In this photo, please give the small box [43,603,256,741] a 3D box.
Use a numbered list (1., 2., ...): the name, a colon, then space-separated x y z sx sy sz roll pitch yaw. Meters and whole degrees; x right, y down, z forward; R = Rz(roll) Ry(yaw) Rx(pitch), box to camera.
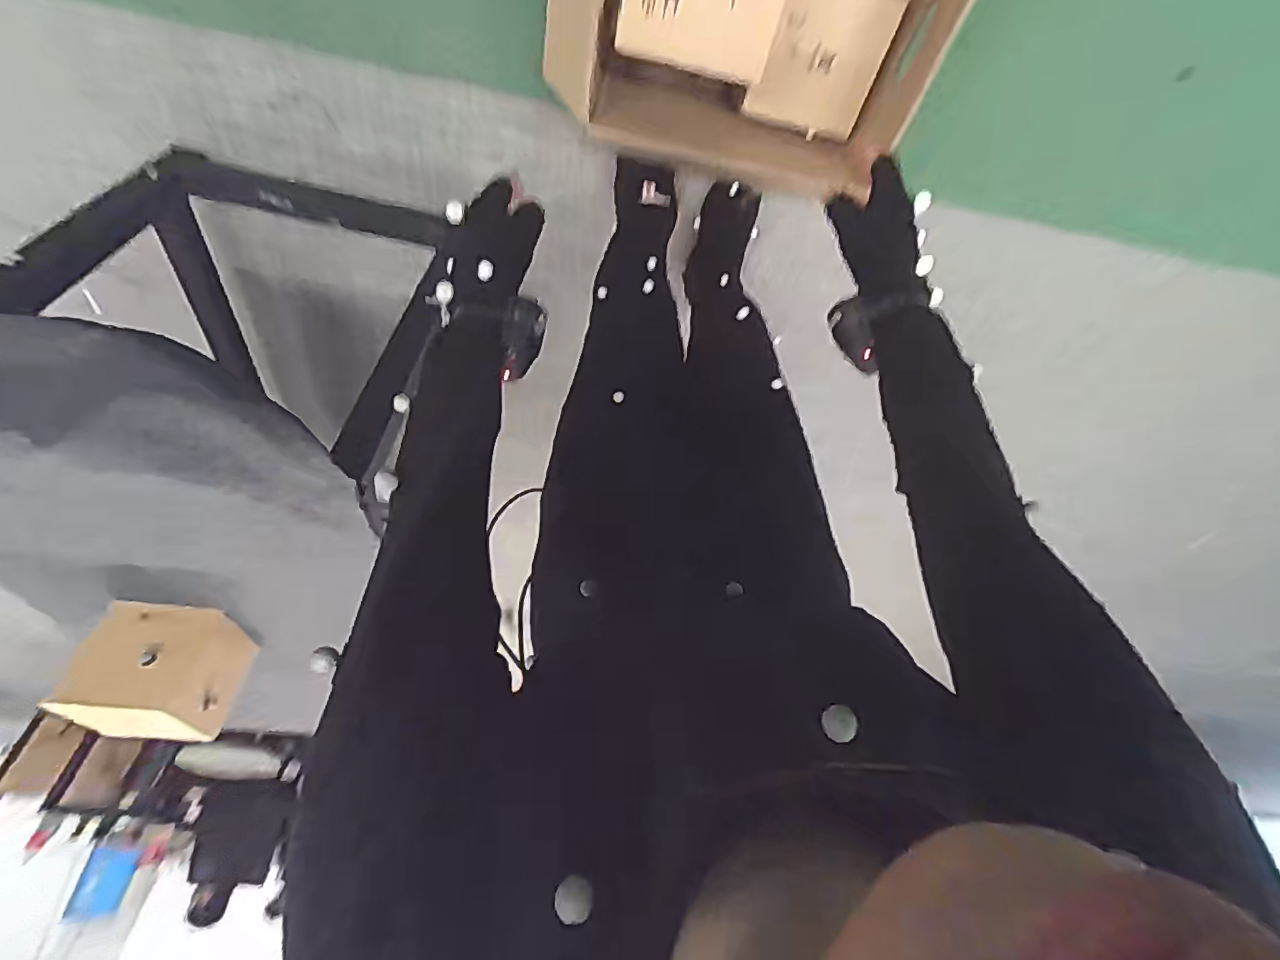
1. small box: -0.785 0.317 0.893 0.168 0.176 0.179 7 141 -6
